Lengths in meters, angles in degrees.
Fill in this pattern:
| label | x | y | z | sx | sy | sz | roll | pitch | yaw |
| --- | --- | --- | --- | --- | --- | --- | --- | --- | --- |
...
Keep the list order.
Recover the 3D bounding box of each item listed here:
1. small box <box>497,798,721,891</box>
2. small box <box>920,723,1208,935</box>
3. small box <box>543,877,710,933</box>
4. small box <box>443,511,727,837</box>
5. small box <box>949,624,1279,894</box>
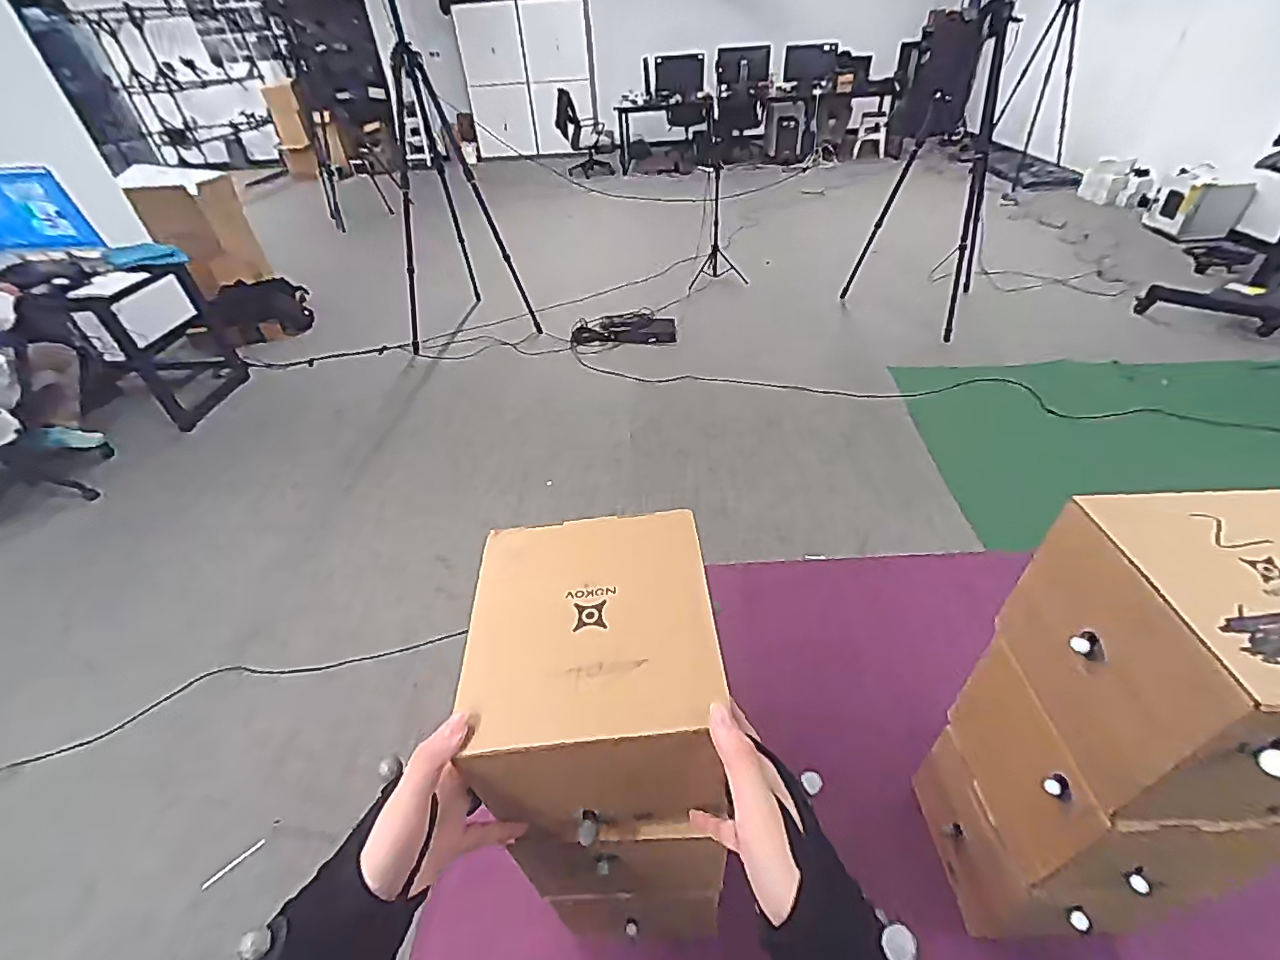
| label | x | y | z | sx | sy | sz | roll | pitch | yaw |
| --- | --- | --- | --- | --- | --- | --- | --- | --- | --- |
| small box | -0.019 | 0.276 | 0.521 | 0.179 | 0.176 | 0.168 | -3 | 41 | 1 |
| small box | 0.439 | 0.387 | 0.605 | 0.179 | 0.176 | 0.168 | -4 | 40 | 2 |
| small box | -0.007 | 0.402 | 0.629 | 0.168 | 0.176 | 0.179 | -2 | 40 | 2 |
| small box | -0.030 | 0.148 | 0.420 | 0.168 | 0.176 | 0.179 | -6 | 42 | 1 |
| small box | 0.426 | 0.257 | 0.507 | 0.168 | 0.176 | 0.179 | -2 | 40 | 2 |
